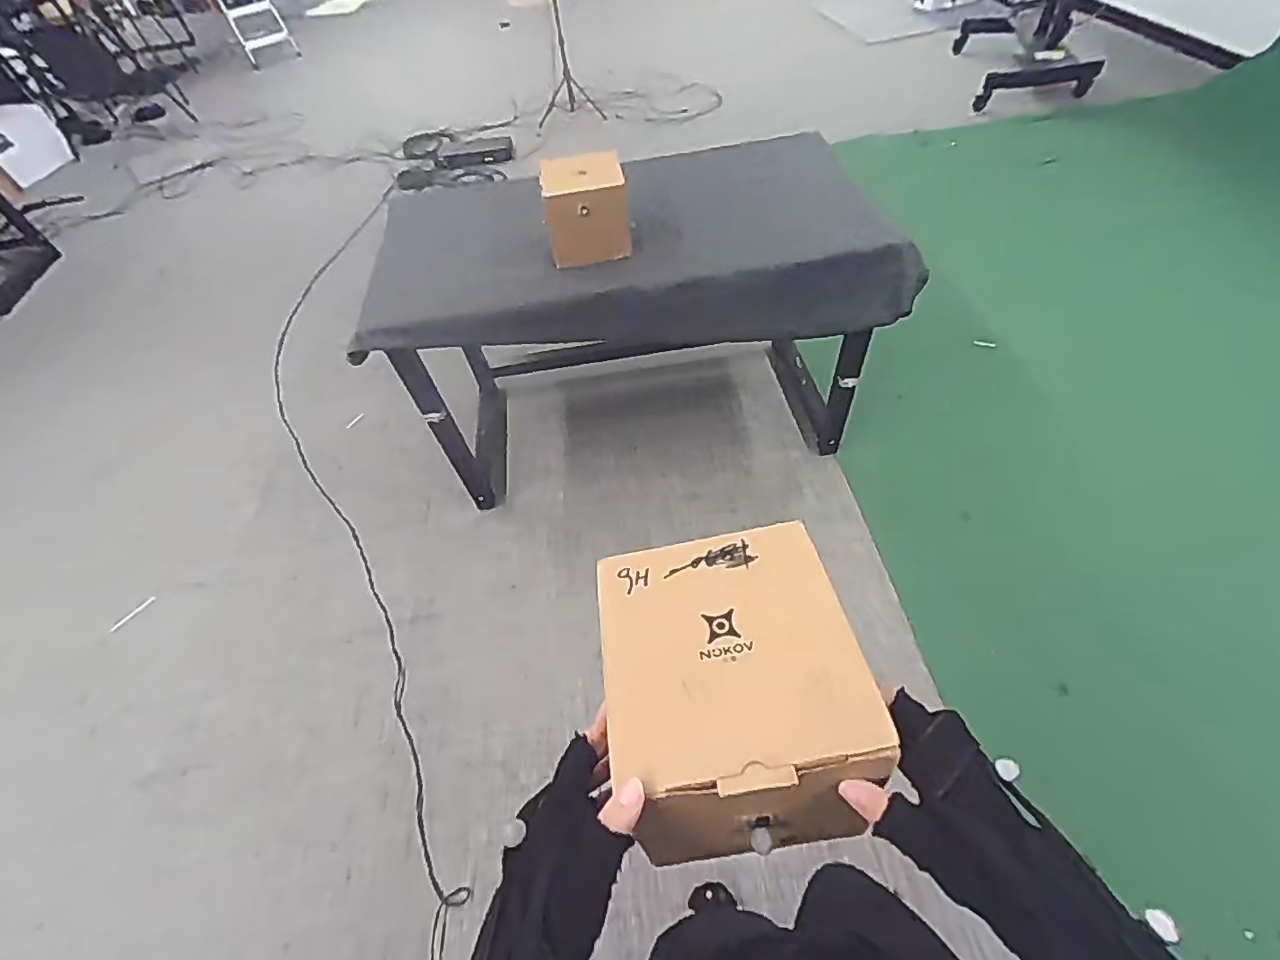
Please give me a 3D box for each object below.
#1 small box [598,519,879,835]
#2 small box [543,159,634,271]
[{"bbox_3d":[0.068,0.162,0.433,0.168,0.176,0.179,-11,44,2],"label":"small box"},{"bbox_3d":[-0.116,-0.598,1.231,0.179,0.176,0.168,-9,53,-2],"label":"small box"}]
